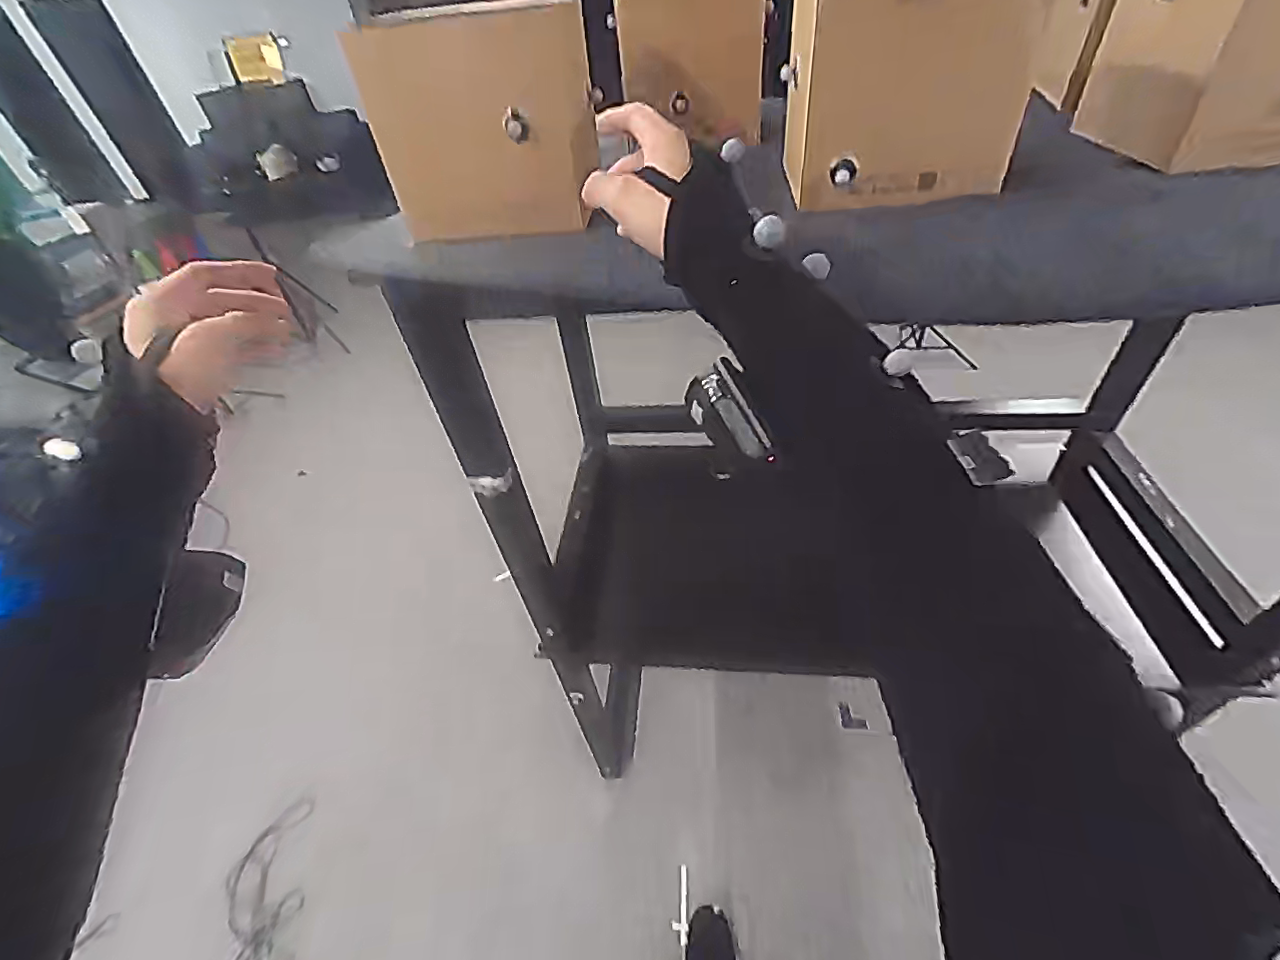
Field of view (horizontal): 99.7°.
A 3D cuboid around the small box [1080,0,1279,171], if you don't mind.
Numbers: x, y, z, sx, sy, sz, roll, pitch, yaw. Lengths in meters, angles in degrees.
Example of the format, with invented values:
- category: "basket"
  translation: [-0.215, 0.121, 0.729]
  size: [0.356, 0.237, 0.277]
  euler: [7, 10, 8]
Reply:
- category: "small box"
  translation: [0.531, -0.378, 0.460]
  size: [0.168, 0.176, 0.179]
  euler: [-1, 43, 9]

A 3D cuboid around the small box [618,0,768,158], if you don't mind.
- category: "small box"
  translation: [0.069, -0.531, 0.694]
  size: [0.168, 0.176, 0.179]
  euler: [-1, 45, 7]

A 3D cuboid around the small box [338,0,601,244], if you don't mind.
- category: "small box"
  translation: [-0.139, -0.344, 0.524]
  size: [0.179, 0.176, 0.168]
  euler: [-1, 43, 6]
